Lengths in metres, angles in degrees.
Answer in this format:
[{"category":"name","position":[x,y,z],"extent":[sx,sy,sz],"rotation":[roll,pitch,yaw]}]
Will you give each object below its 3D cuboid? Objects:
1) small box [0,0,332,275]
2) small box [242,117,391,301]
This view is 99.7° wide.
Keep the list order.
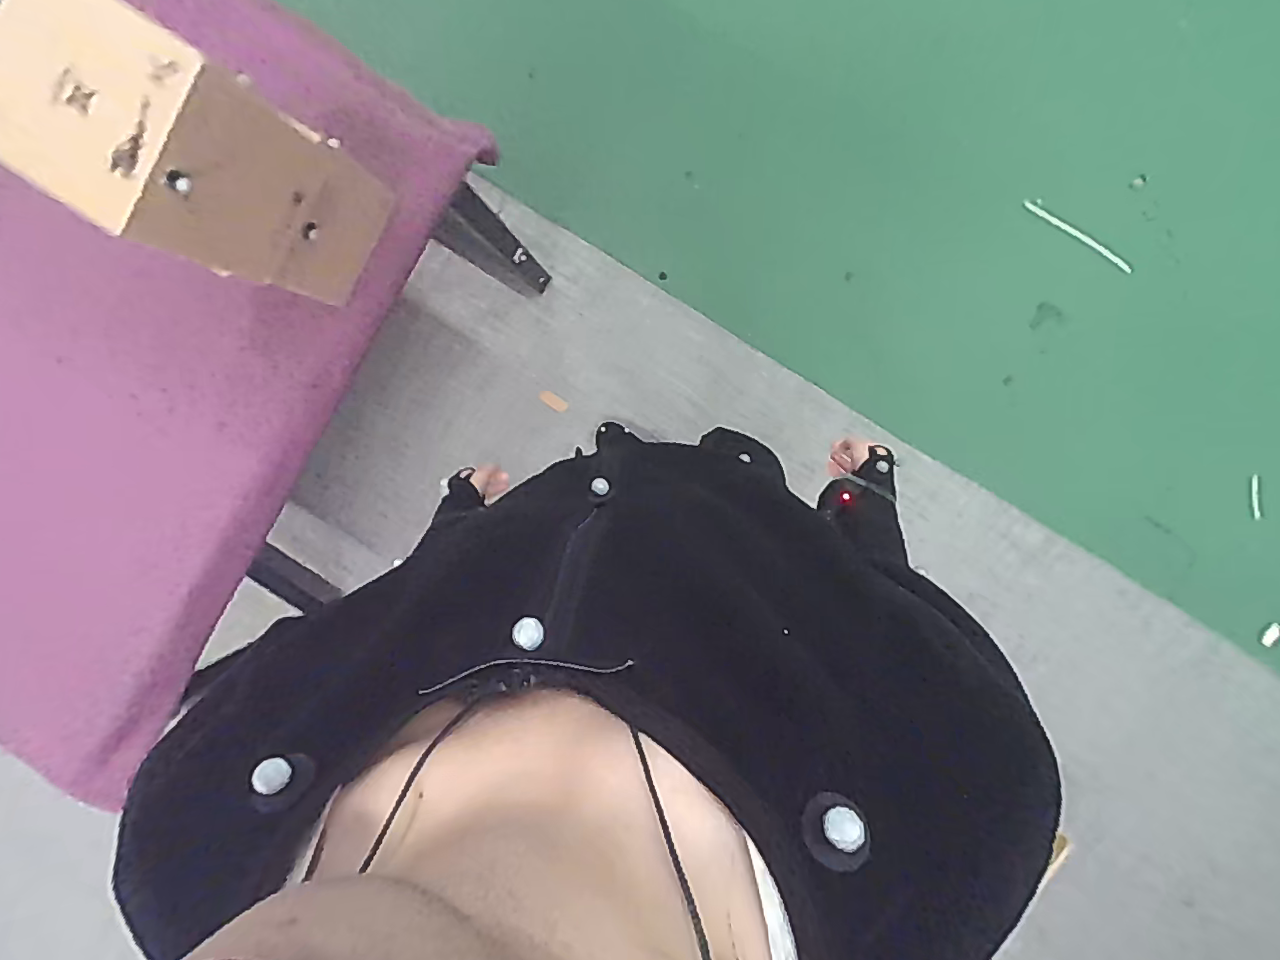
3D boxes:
[{"category":"small box","position":[-0.454,-0.327,0.526],"extent":[0.179,0.176,0.168],"rotation":[33,99,1]},{"category":"small box","position":[-0.457,-0.355,0.690],"extent":[0.168,0.176,0.179],"rotation":[31,97,0]}]
